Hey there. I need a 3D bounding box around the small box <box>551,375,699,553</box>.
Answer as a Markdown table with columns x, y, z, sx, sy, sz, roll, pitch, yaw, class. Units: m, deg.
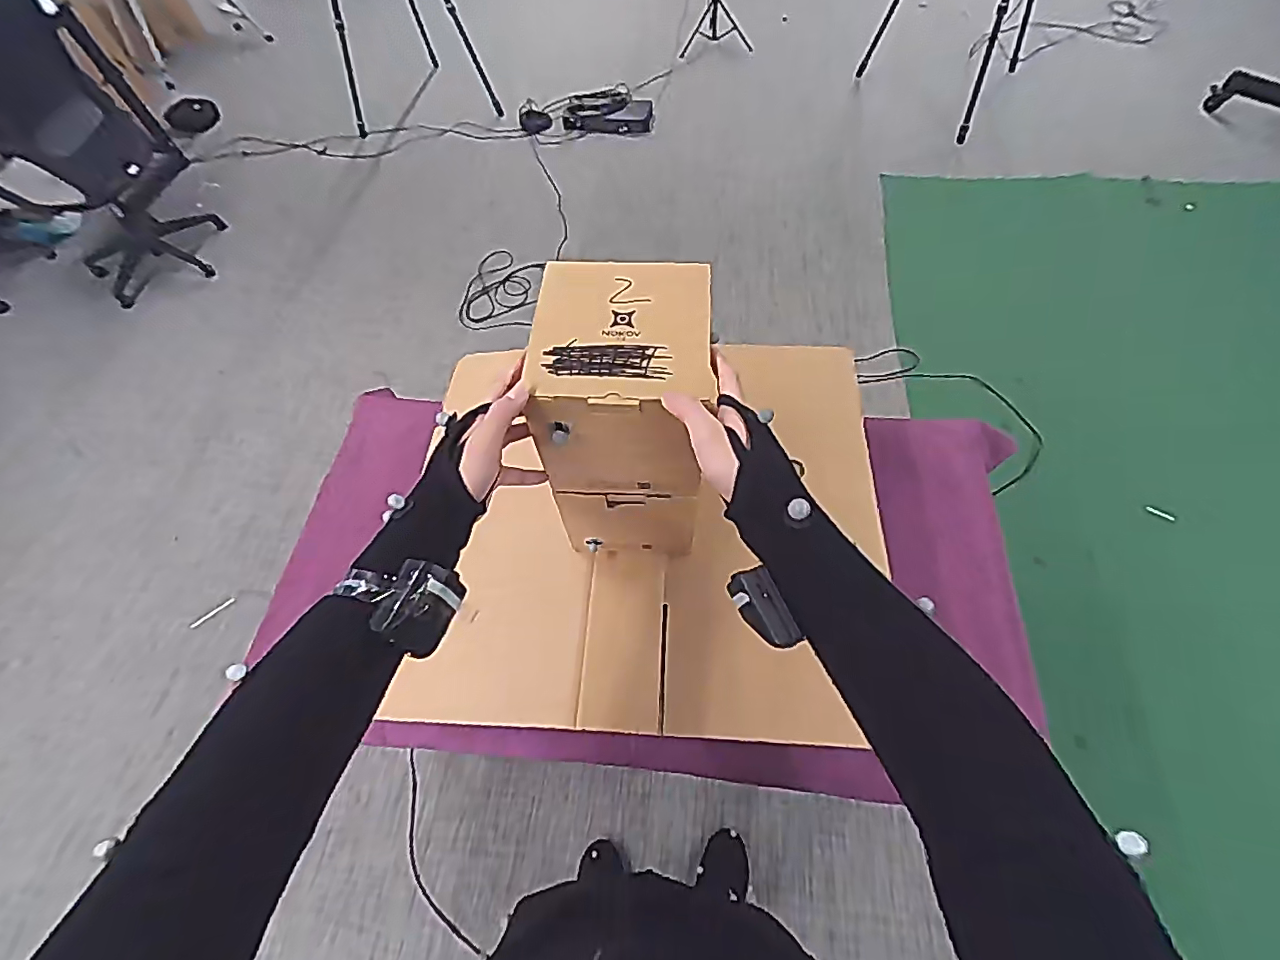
| x | y | z | sx | sy | sz | roll | pitch | yaw | class |
| --- | --- | --- | --- | --- | --- | --- | --- | --- | --- |
| -0.010 | -0.015 | 0.703 | 0.168 | 0.176 | 0.179 | 2 | 59 | 3 | small box |
